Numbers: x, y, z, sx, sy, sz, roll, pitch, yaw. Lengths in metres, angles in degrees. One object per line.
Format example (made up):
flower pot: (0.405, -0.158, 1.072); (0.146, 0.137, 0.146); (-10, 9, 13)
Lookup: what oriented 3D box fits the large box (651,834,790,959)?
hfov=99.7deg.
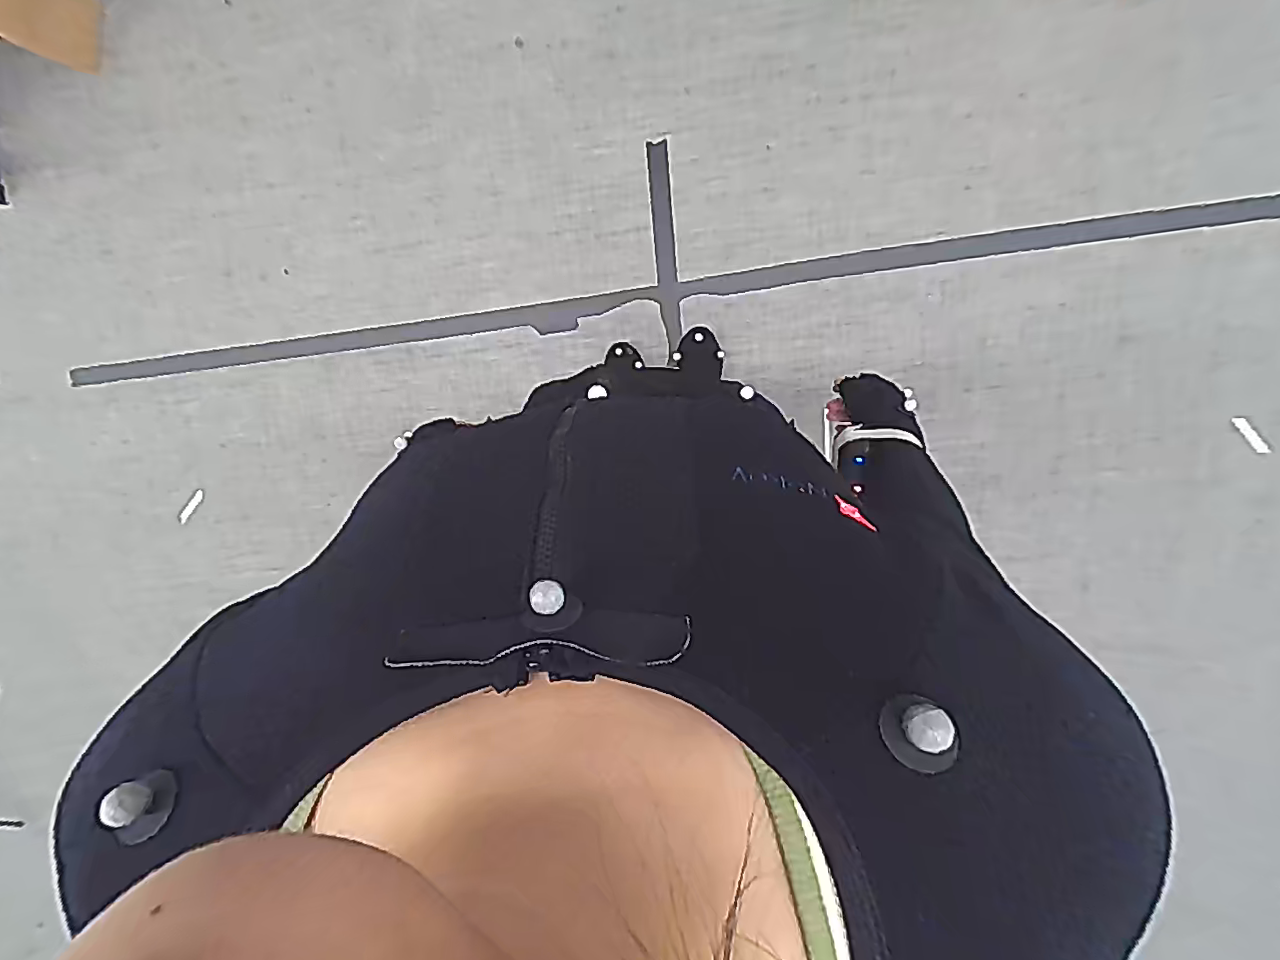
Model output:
large box: (0.243, 1.395, 1.734); (0.408, 0.320, 0.320); (2, 105, 4)
